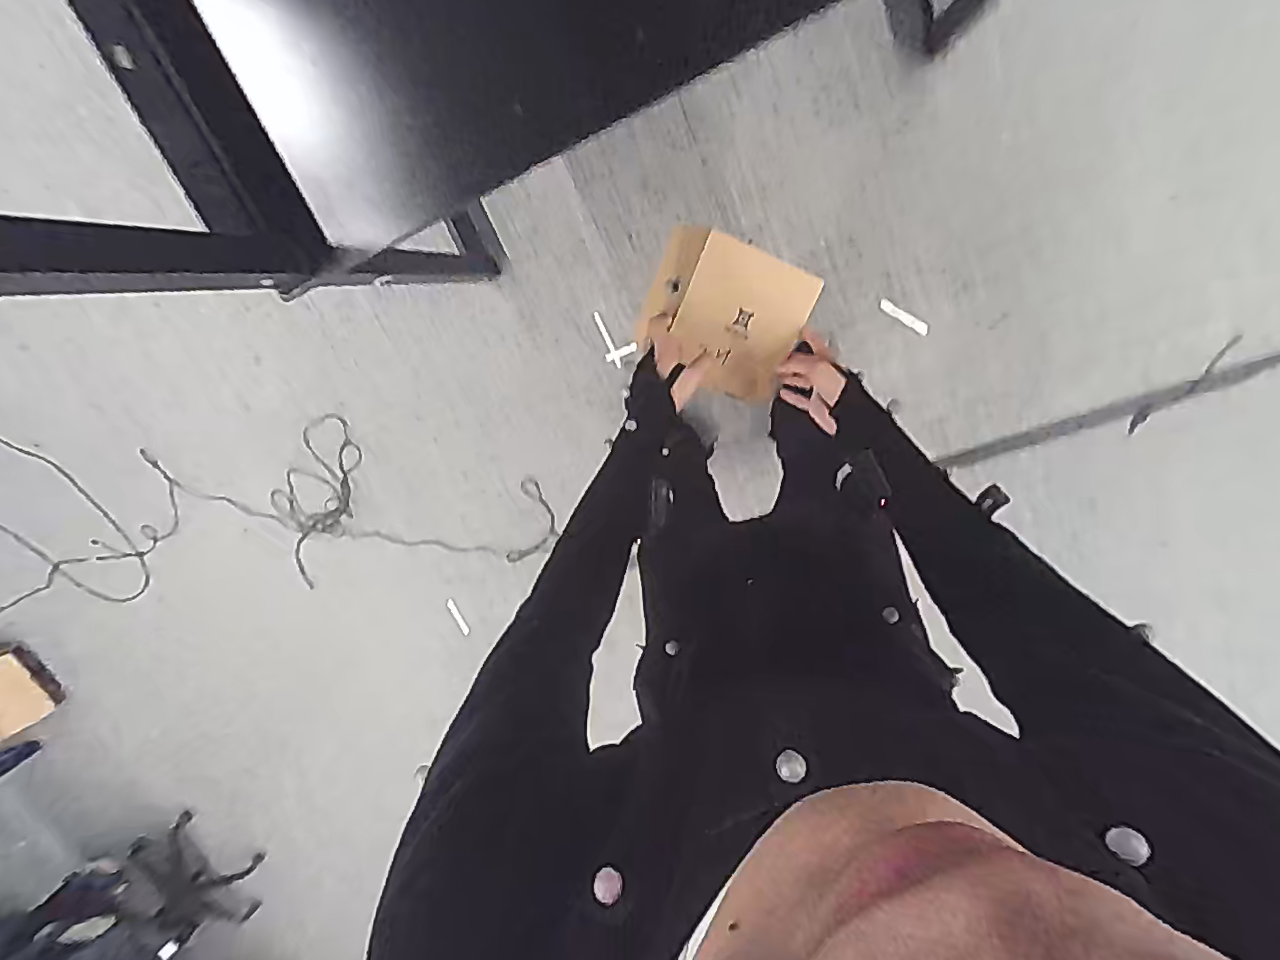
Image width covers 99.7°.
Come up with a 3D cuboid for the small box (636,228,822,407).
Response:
[{"bbox_3d":[0.105,-0.226,0.735,0.168,0.176,0.179,16,112,-18],"label":"small box"}]
